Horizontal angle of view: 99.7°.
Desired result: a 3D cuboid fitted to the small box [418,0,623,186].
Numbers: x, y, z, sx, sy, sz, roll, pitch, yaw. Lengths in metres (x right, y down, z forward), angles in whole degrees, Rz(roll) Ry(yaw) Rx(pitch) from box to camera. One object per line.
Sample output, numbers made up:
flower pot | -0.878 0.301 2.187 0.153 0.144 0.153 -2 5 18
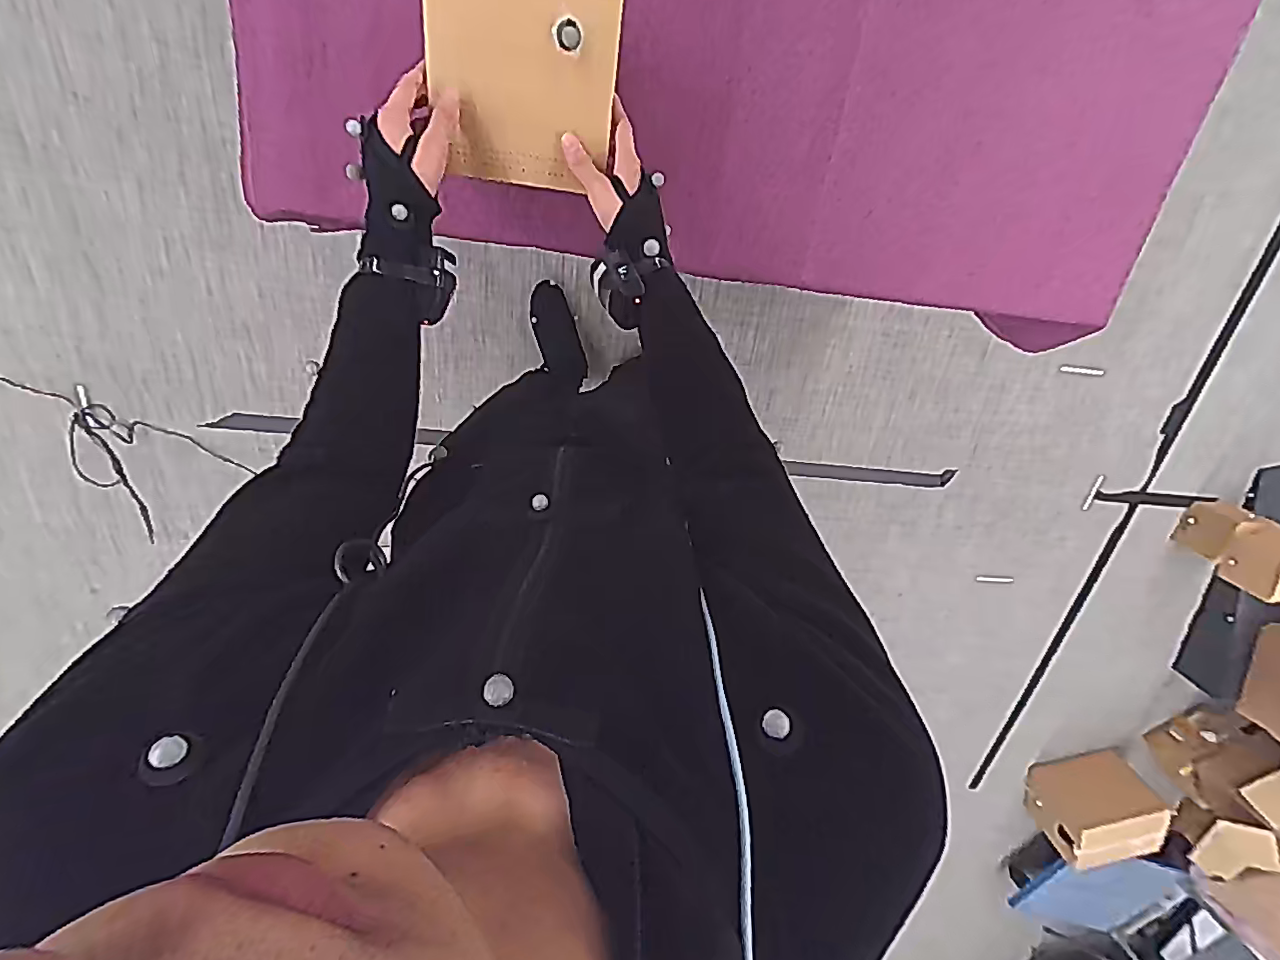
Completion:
small box | -0.120 -0.413 0.565 0.179 0.168 0.176 3 122 -10
